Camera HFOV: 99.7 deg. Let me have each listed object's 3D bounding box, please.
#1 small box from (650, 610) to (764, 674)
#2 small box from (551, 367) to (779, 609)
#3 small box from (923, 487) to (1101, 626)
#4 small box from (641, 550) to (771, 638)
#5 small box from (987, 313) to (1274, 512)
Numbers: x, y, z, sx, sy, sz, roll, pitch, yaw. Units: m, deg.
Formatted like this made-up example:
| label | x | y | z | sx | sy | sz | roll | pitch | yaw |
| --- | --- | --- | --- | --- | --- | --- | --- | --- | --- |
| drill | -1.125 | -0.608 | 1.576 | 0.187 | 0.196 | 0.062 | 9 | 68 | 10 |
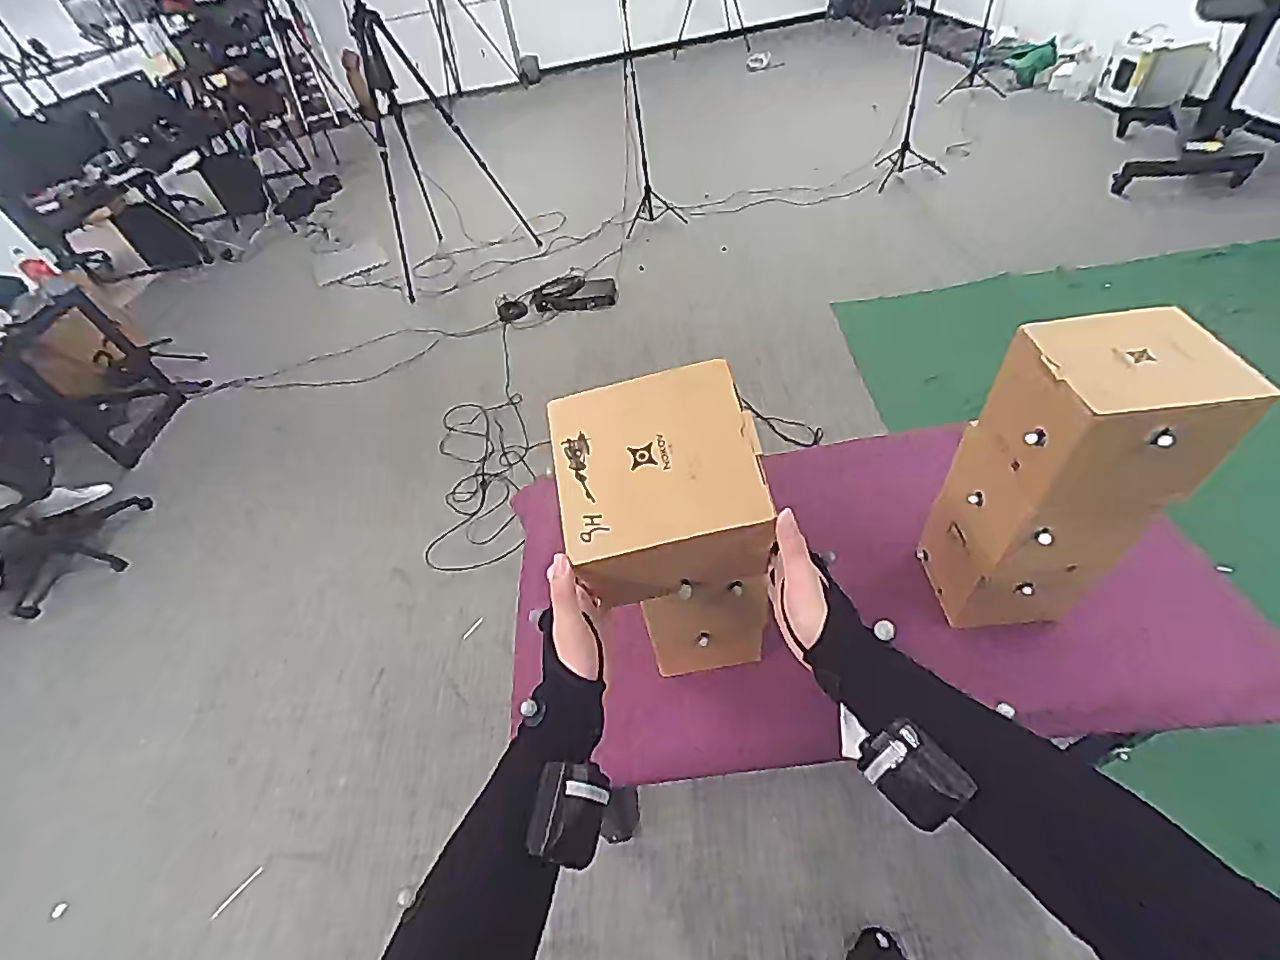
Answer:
| label | x | y | z | sx | sy | sz | roll | pitch | yaw |
| --- | --- | --- | --- | --- | --- | --- | --- | --- | --- |
| small box | 0.104 | 0.213 | 0.926 | 0.179 | 0.176 | 0.168 | -10 | 47 | 2 |
| small box | 0.023 | 0.018 | 0.539 | 0.179 | 0.176 | 0.168 | -12 | 62 | 2 |
| small box | 0.595 | 0.131 | 0.902 | 0.179 | 0.176 | 0.168 | -6 | 47 | 5 |
| small box | 0.085 | 0.113 | 0.795 | 0.179 | 0.176 | 0.168 | -9 | 47 | 3 |
| small box | 0.552 | -0.075 | 0.651 | 0.179 | 0.176 | 0.168 | -5 | 48 | 6 |
